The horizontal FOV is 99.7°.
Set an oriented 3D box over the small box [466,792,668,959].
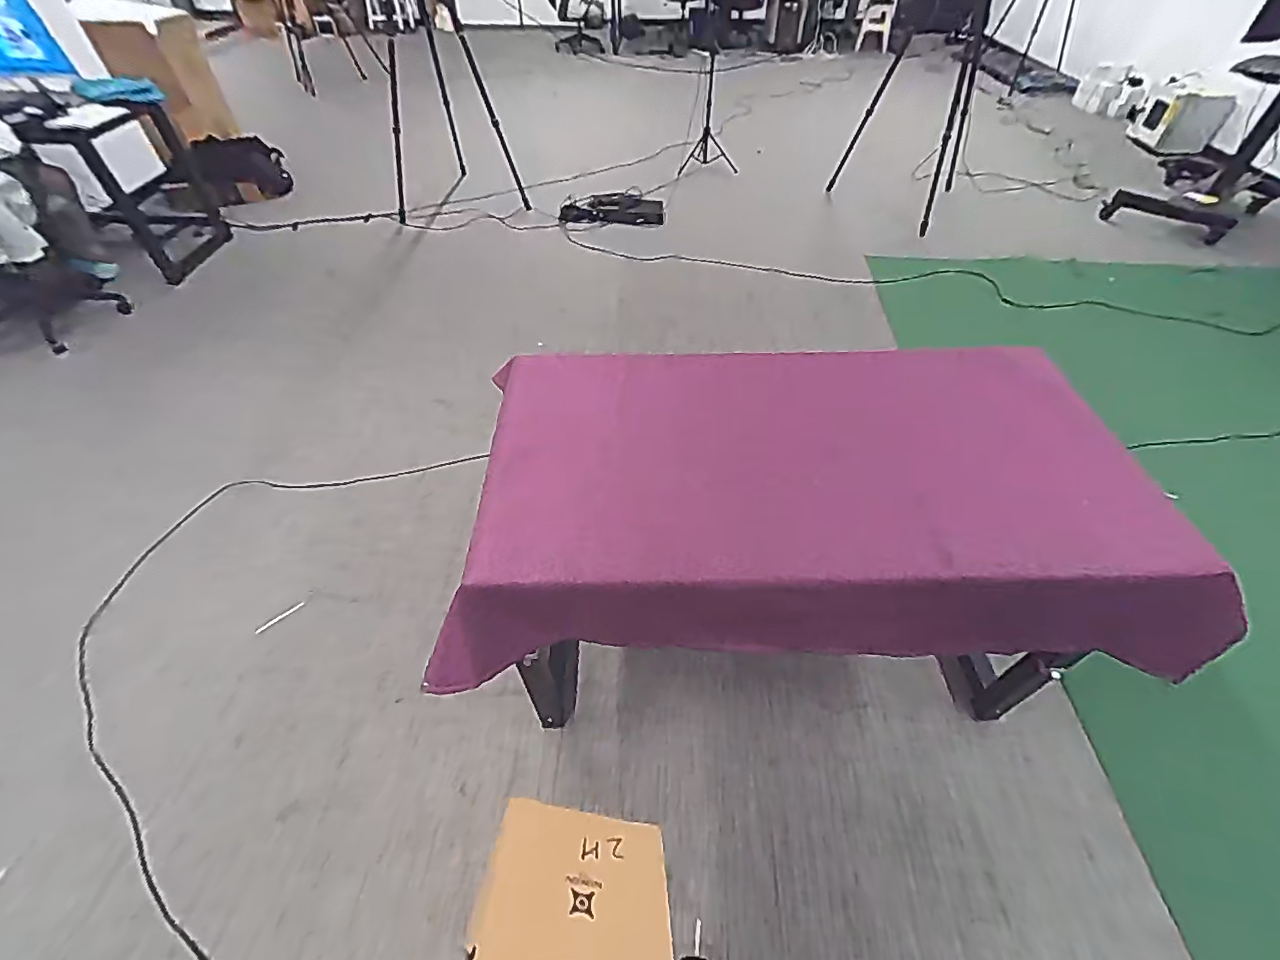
[{"bbox_3d":[-0.077,0.451,0.520,0.168,0.176,0.179,16,15,-6],"label":"small box"}]
